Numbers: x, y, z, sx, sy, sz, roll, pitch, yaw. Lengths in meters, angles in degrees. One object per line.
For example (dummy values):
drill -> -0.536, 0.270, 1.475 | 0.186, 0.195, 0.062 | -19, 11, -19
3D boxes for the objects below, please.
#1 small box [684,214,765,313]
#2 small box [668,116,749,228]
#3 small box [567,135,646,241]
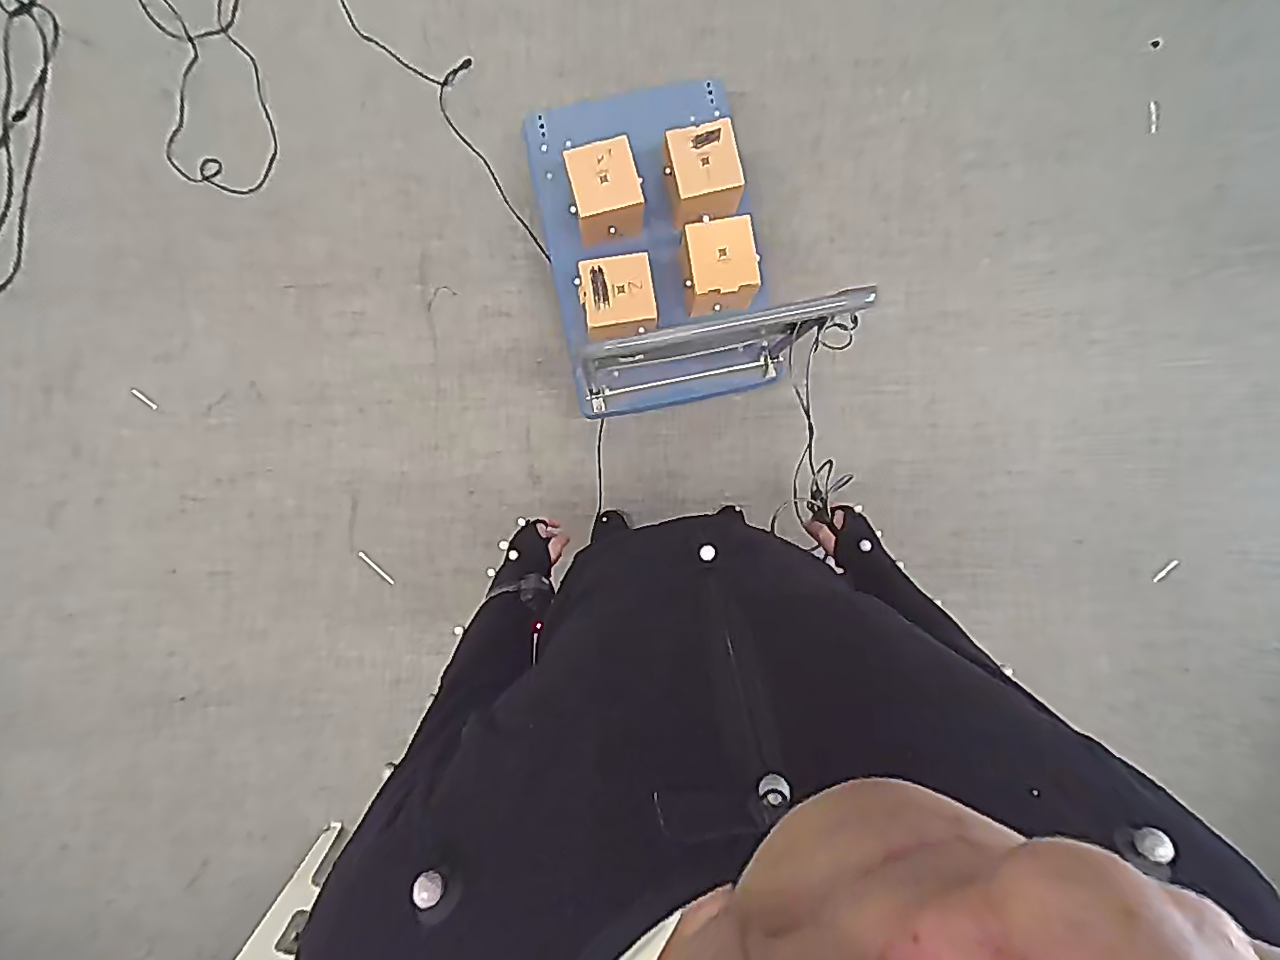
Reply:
small box -> 0.212, -0.554, 1.401 | 0.168, 0.176, 0.179 | -10, 89, 0
small box -> 0.170, -0.792, 1.404 | 0.168, 0.176, 0.179 | -13, 90, 1
small box -> -0.082, -0.745, 1.405 | 0.168, 0.176, 0.179 | -14, 89, -1
